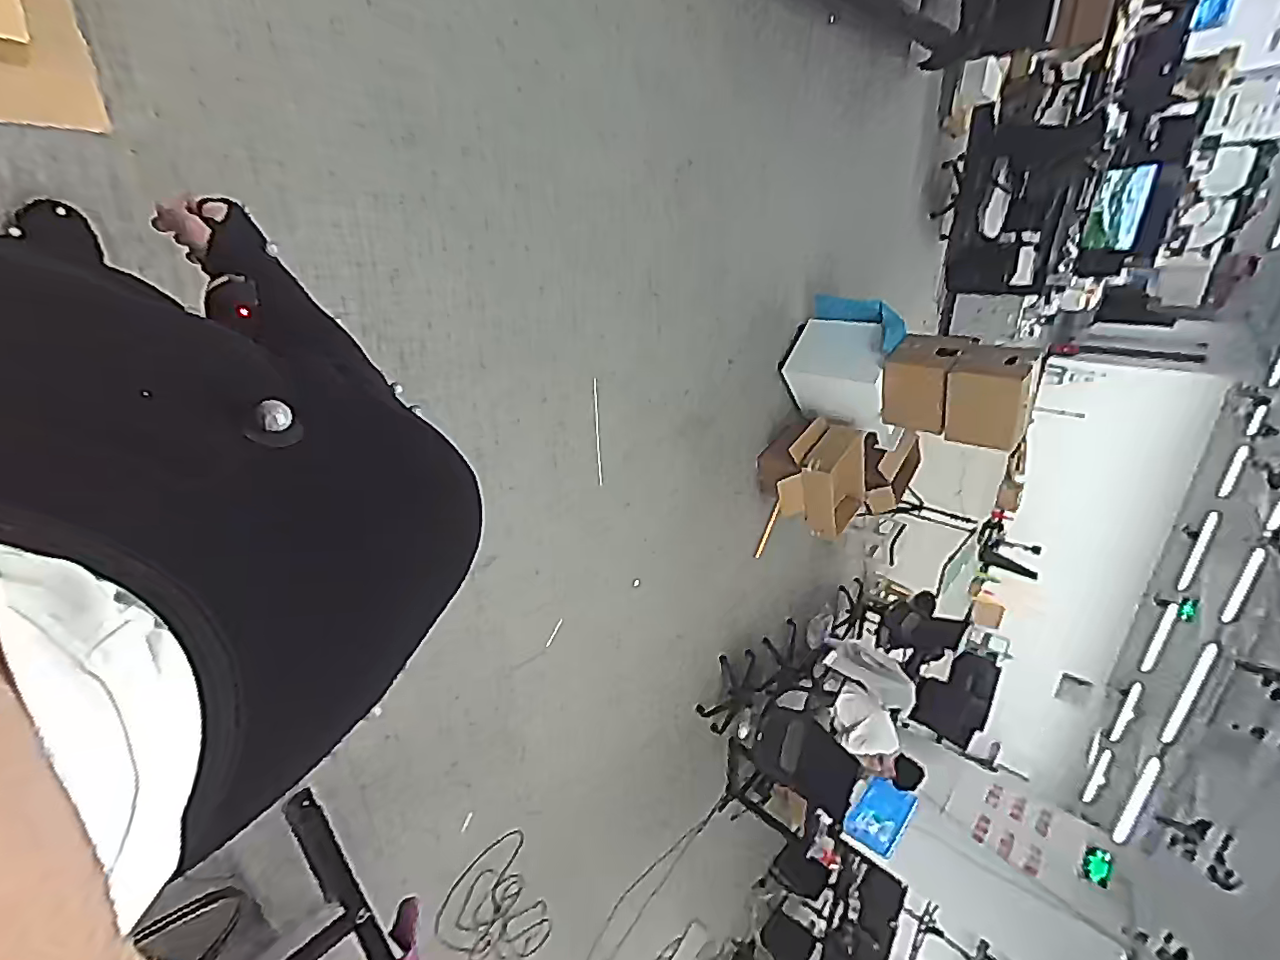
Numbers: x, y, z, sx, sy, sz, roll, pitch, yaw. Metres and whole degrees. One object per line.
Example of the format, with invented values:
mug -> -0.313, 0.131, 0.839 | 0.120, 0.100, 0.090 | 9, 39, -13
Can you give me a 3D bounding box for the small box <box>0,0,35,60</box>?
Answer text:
small box -> -1.116, -0.807, 0.864 | 0.179, 0.176, 0.168 | -15, 116, -43
